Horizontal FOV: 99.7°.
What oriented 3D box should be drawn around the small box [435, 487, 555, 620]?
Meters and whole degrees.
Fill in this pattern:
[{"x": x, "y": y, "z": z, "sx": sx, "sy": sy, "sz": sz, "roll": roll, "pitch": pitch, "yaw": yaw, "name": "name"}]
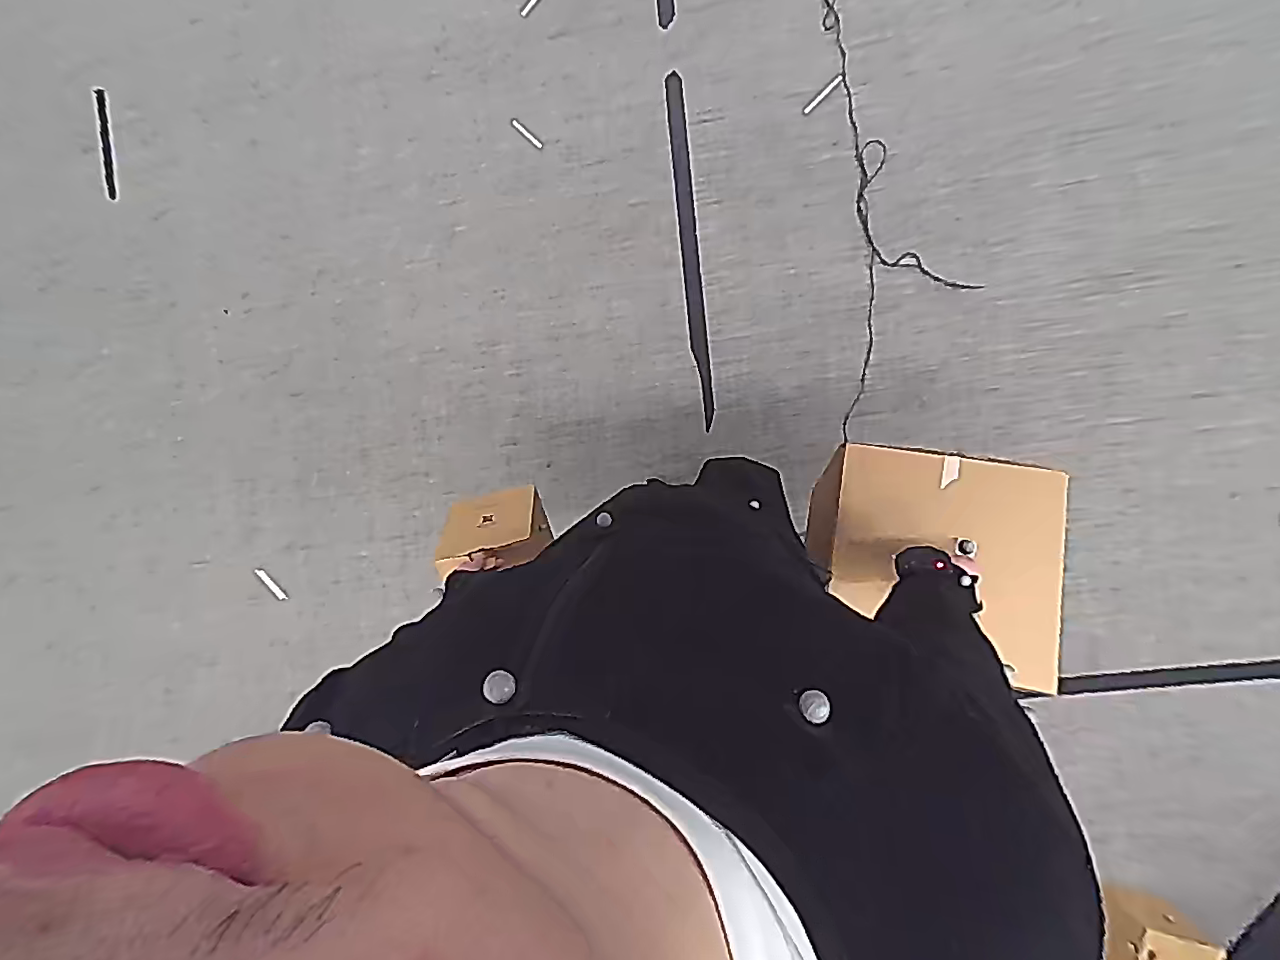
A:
[{"x": -0.260, "y": 0.141, "z": 1.014, "sx": 0.168, "sy": 0.179, "sz": 0.176, "roll": -12, "pitch": 121, "yaw": -1, "name": "small box"}]
